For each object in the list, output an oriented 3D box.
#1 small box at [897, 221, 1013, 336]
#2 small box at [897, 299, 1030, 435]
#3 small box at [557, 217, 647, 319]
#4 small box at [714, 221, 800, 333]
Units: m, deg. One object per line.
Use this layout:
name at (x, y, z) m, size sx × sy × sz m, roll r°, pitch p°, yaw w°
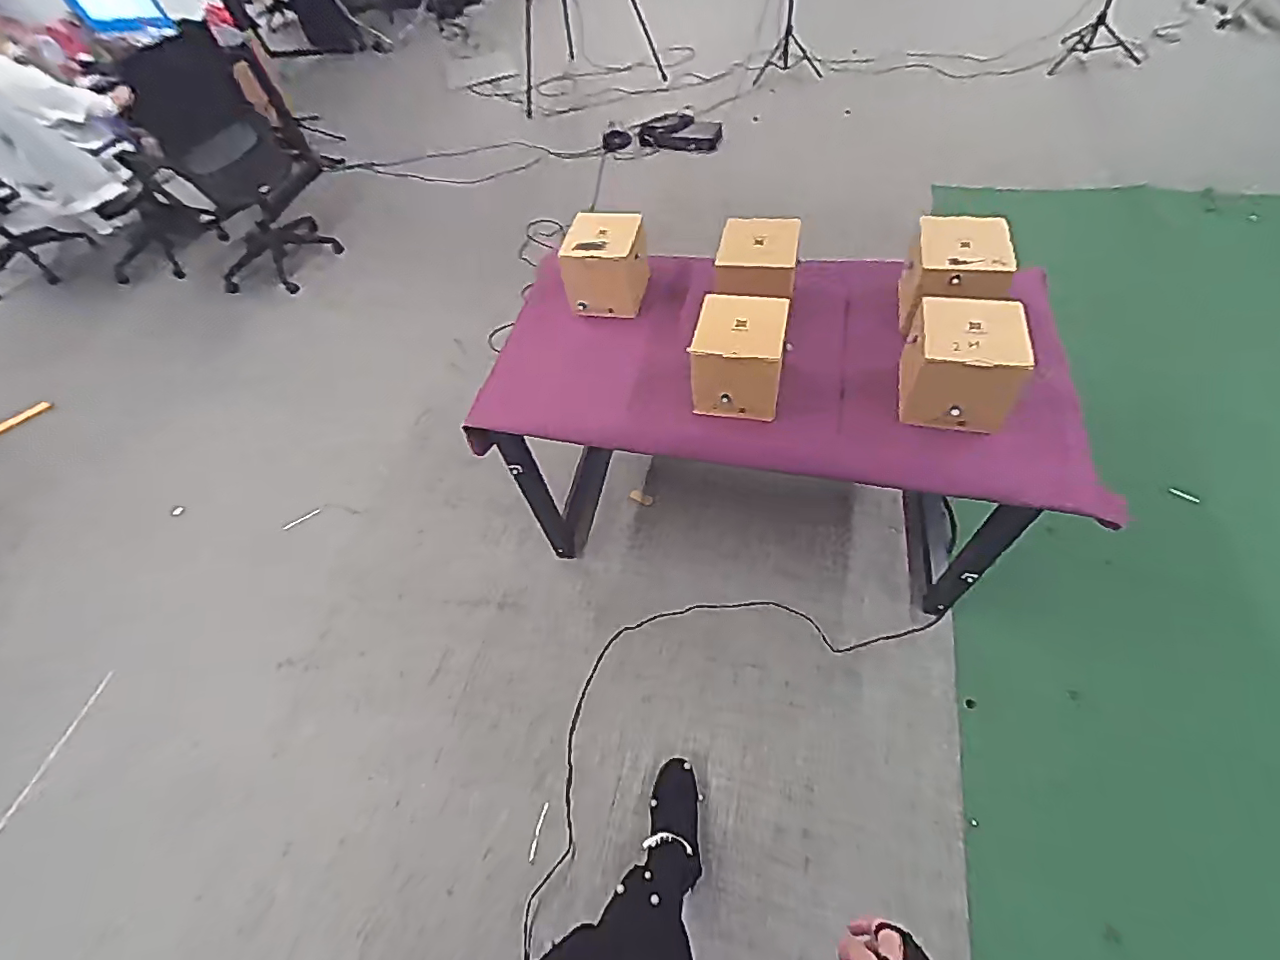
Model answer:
small box at (0.654, -0.422, 1.147) m, size 0.168 × 0.176 × 0.179 m, roll 7°, pitch 58°, yaw 13°
small box at (0.588, -0.210, 1.008) m, size 0.168 × 0.176 × 0.179 m, roll 8°, pitch 56°, yaw 15°
small box at (-0.082, -0.514, 1.314) m, size 0.168 × 0.176 × 0.179 m, roll 7°, pitch 57°, yaw 12°
small box at (0.264, -0.463, 1.234) m, size 0.168 × 0.176 × 0.179 m, roll 8°, pitch 58°, yaw 14°
